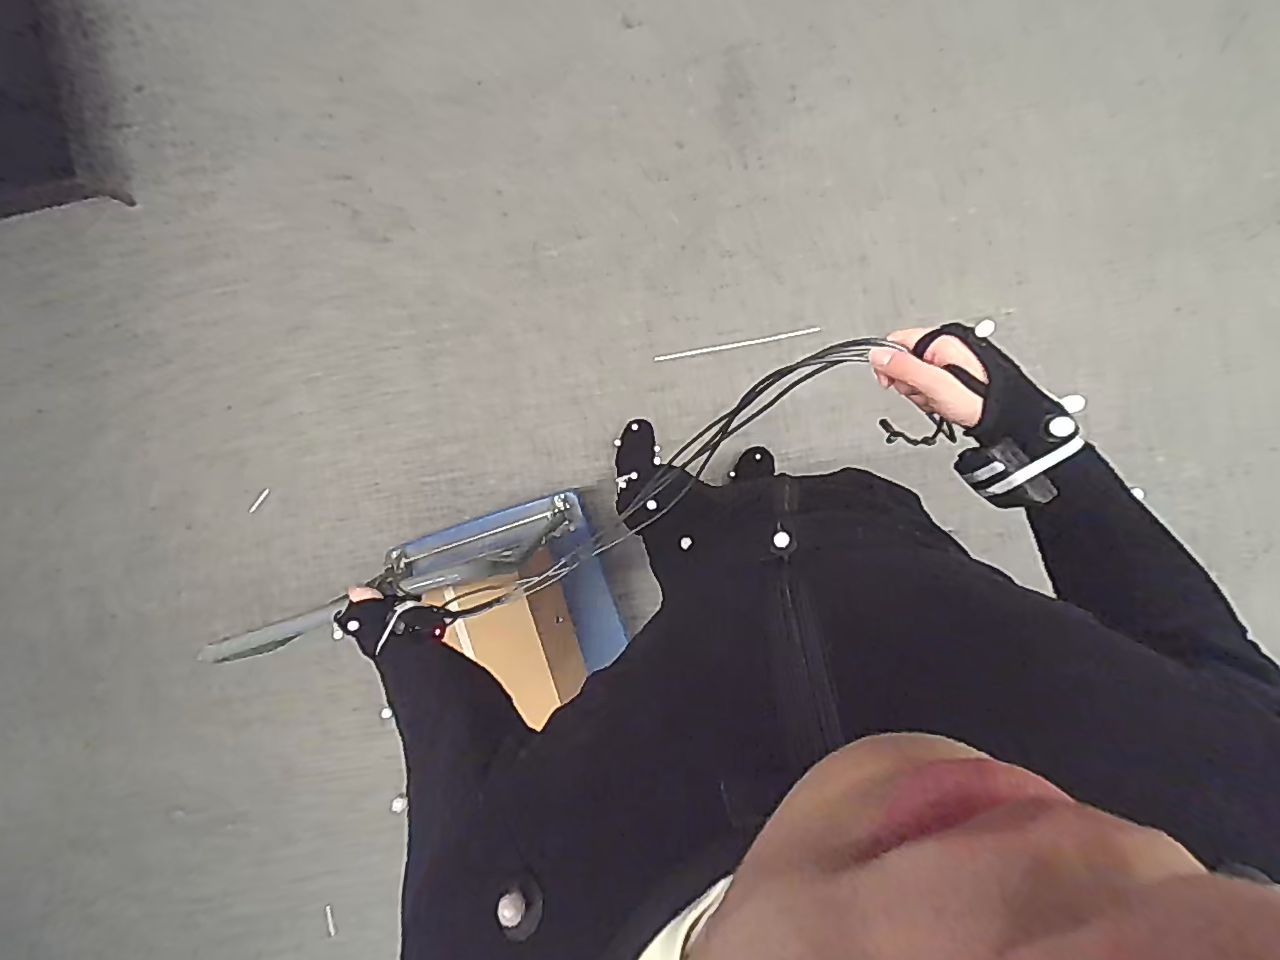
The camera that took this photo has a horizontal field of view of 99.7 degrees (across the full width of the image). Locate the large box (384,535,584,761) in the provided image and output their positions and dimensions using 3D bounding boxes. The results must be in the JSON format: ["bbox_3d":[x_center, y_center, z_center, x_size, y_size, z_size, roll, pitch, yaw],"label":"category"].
[{"bbox_3d":[-0.358,0.387,1.338,0.320,0.320,0.408,-17,93,4],"label":"large box"}]
